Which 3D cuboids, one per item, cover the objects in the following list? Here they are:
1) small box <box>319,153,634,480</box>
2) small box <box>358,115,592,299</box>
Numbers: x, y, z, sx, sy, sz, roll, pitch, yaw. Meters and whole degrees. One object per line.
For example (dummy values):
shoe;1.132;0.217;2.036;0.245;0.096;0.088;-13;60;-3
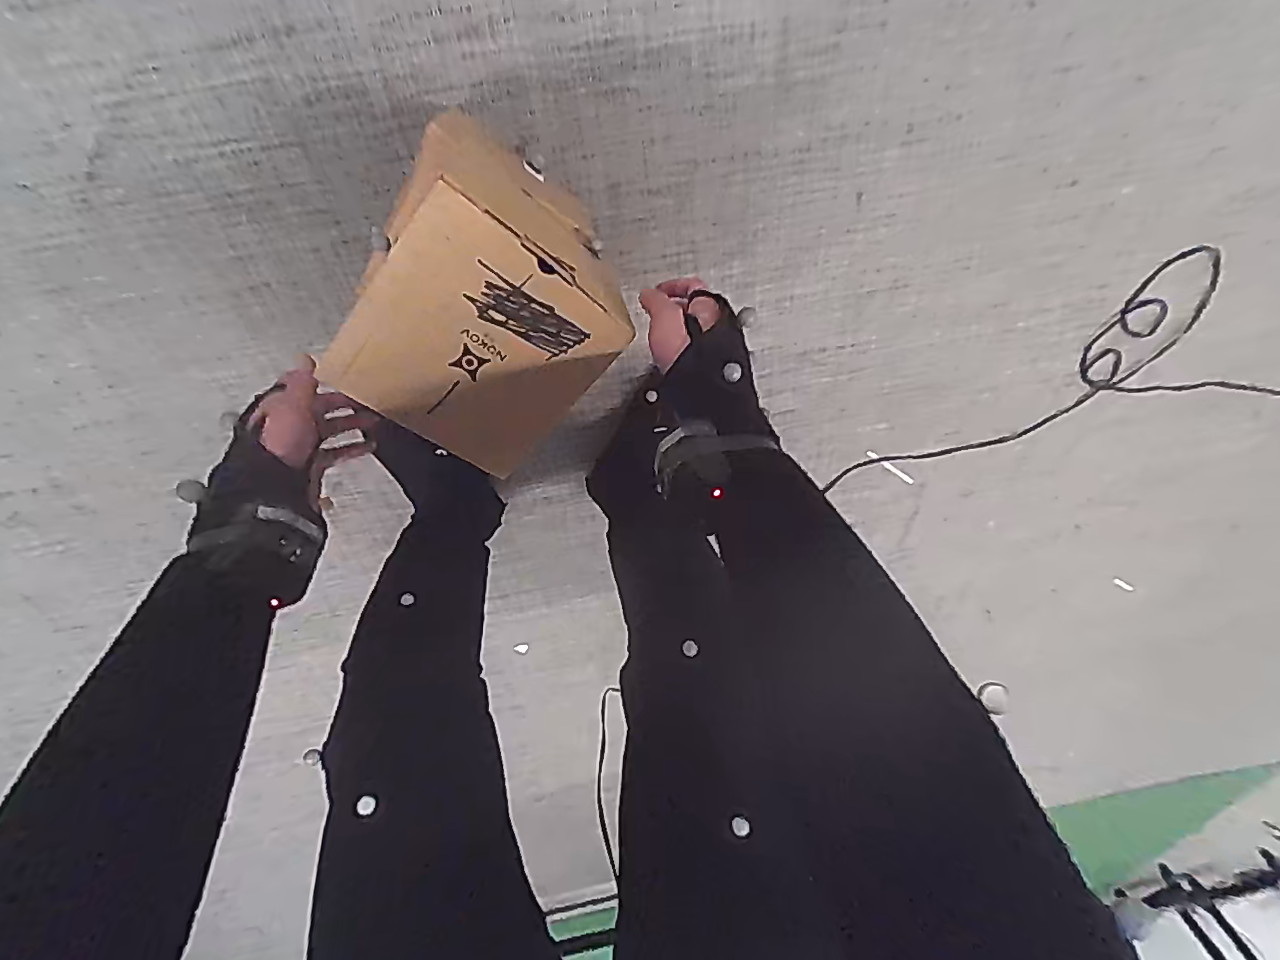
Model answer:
small box;-0.131;-0.140;0.462;0.168;0.176;0.179;34;116;-31
small box;-0.170;-0.251;0.580;0.168;0.176;0.179;26;118;-28
